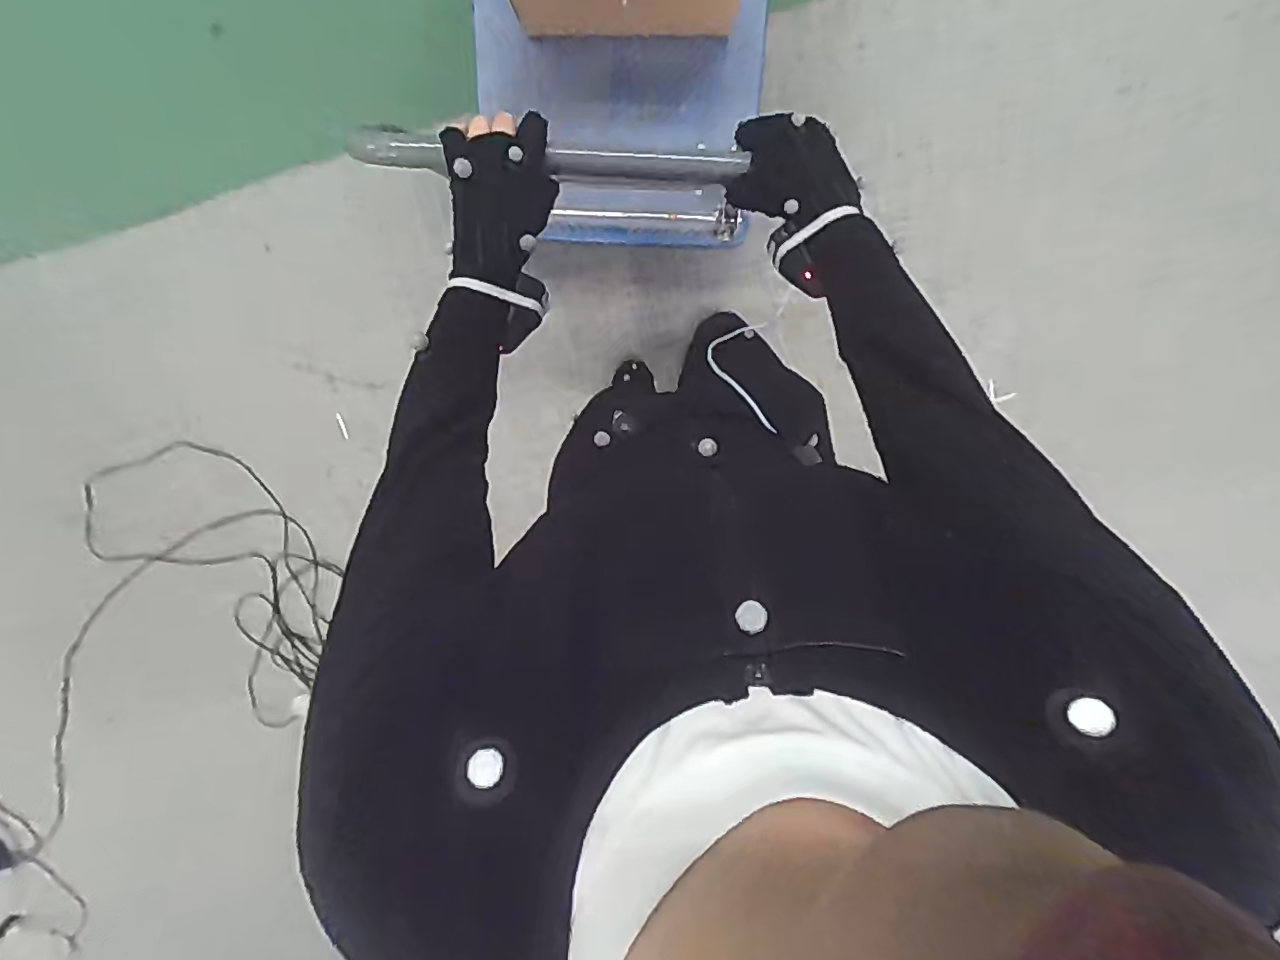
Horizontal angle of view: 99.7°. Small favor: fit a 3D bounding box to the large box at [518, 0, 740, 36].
[{"bbox_3d":[-0.022,-0.990,0.888,0.408,0.320,0.320,0,104,2],"label":"large box"}]
